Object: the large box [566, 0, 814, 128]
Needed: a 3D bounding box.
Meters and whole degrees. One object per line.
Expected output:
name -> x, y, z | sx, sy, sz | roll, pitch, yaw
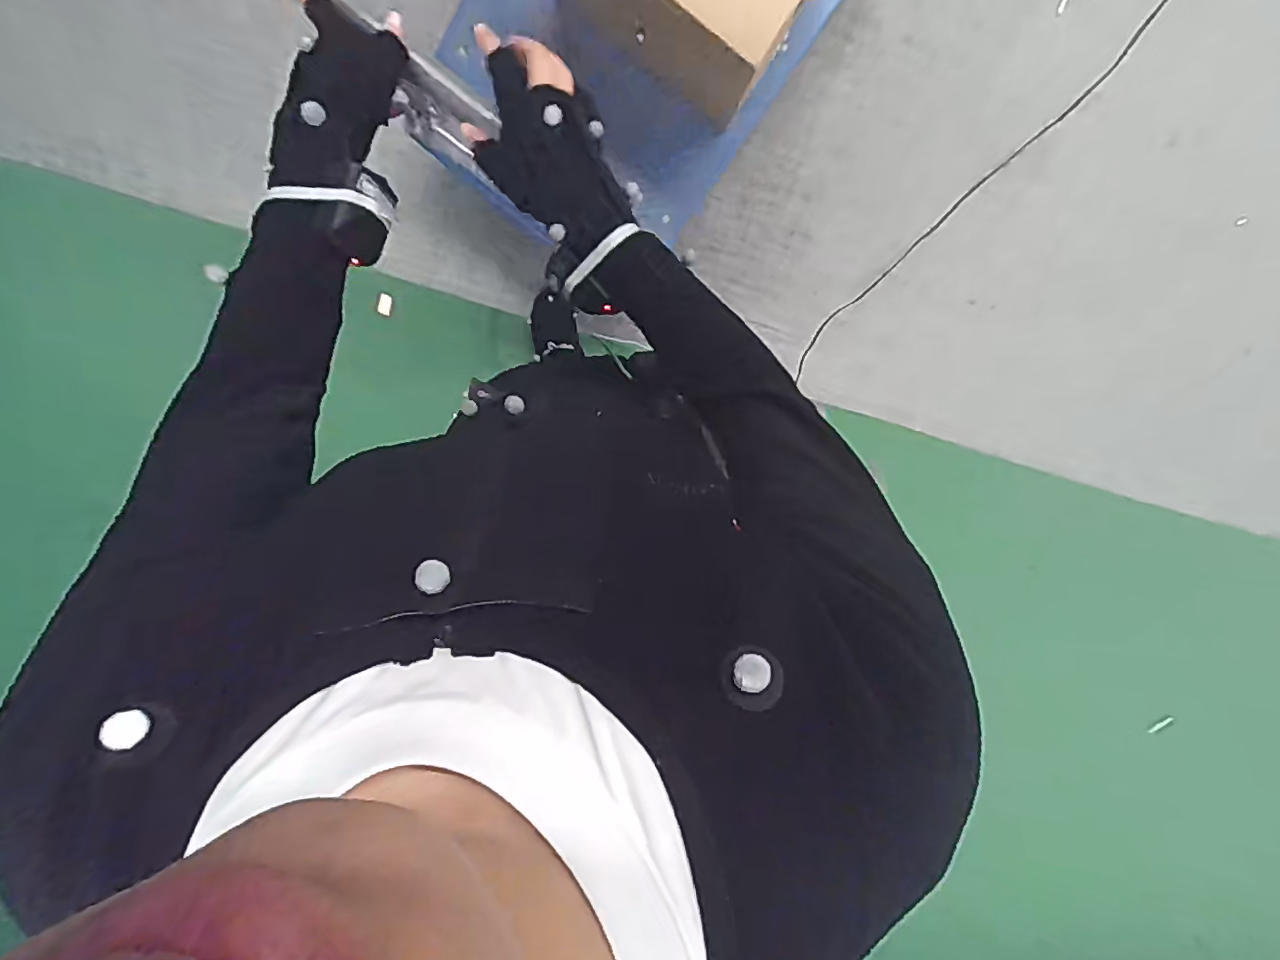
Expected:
large box -> 0.099, -0.872, 0.872 | 0.408, 0.320, 0.320 | 33, 105, -9
